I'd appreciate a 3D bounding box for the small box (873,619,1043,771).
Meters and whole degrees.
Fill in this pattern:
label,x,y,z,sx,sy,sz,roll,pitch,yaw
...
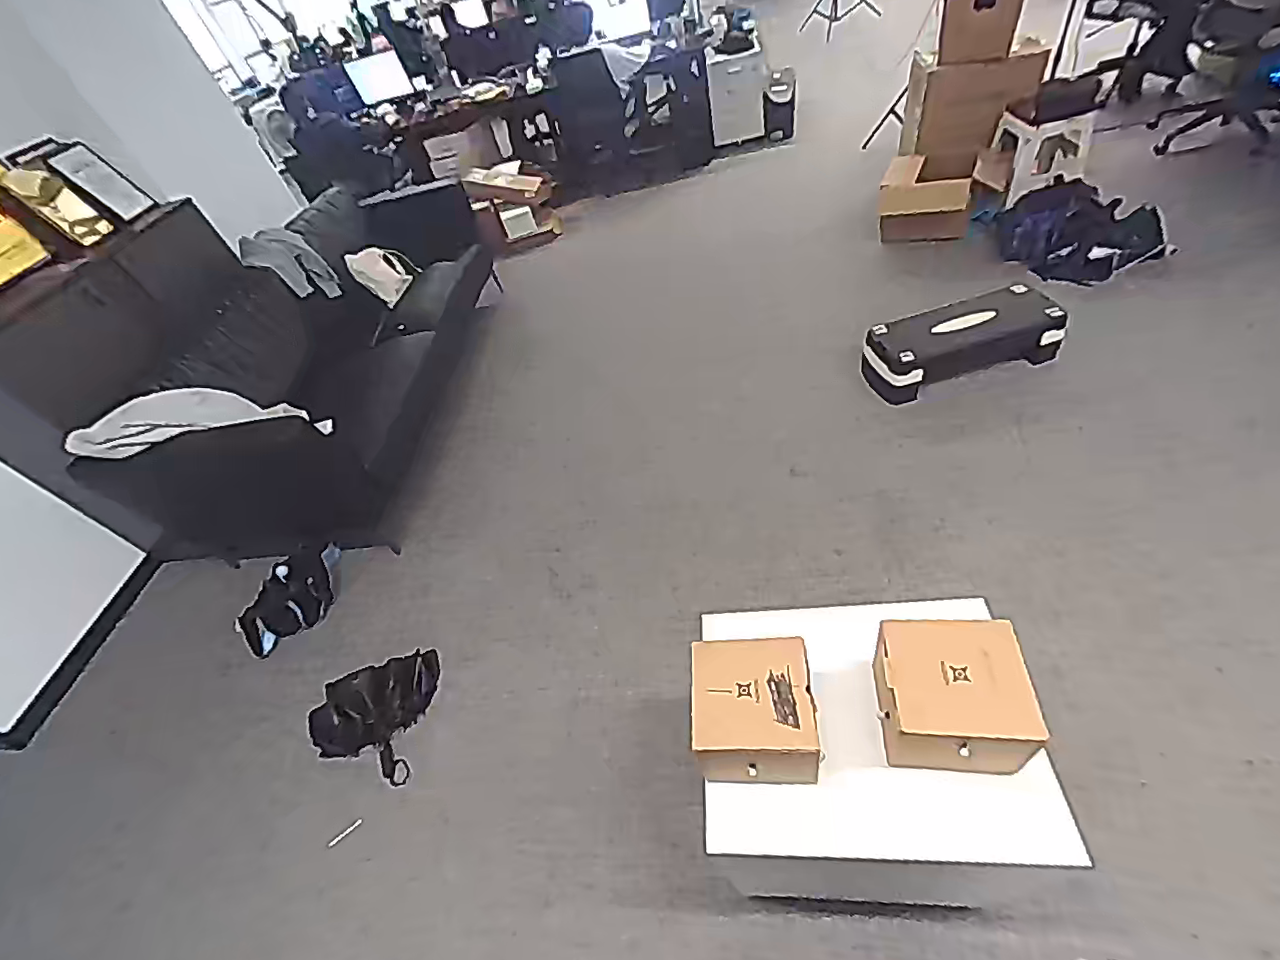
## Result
label,x,y,z,sx,sy,sz,roll,pitch,yaw
small box,0.452,0.321,0.807,0.179,0.176,0.168,-3,49,14

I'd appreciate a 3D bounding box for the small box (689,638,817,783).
label,x,y,z,sx,sy,sz,roll,pitch,yaw
small box,0.176,0.364,0.851,0.179,0.176,0.168,-6,46,13
